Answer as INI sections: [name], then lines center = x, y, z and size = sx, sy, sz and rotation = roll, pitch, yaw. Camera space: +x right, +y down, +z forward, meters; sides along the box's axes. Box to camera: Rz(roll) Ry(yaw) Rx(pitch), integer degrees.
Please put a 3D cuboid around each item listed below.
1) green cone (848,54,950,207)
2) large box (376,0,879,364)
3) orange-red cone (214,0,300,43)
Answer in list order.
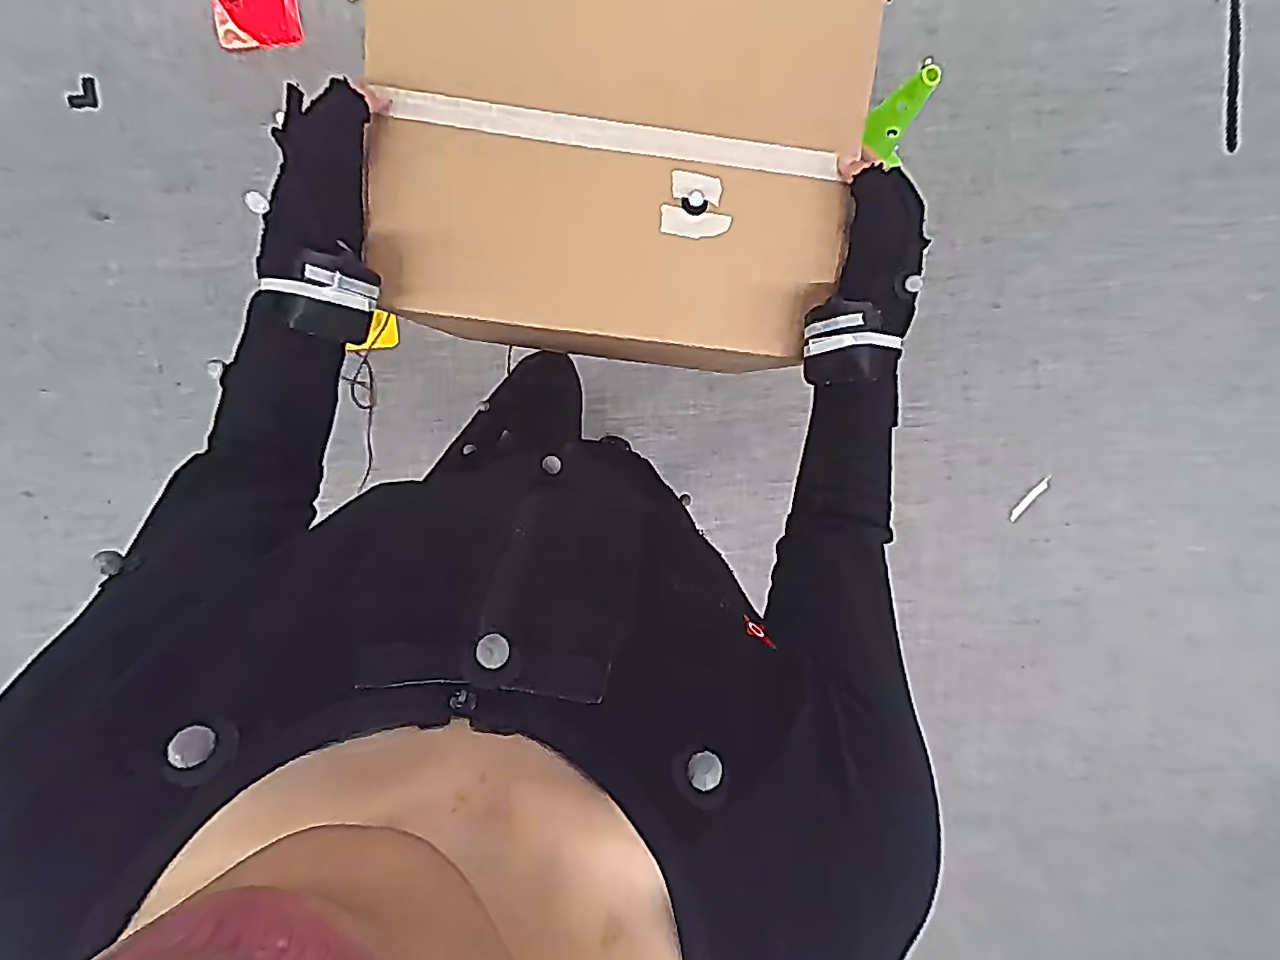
[green cone]
center = 0.577, -0.830, 1.240
size = 0.202, 0.368, 0.200
rotation = -41, 97, 0
[large box]
center = -0.024, -0.310, 0.594
size = 0.408, 0.320, 0.320
rotation = 6, 99, -5
[orange-red cone]
center = -0.925, -1.145, 1.134
size = 0.198, 0.360, 0.199
rotation = -6, 98, -1
